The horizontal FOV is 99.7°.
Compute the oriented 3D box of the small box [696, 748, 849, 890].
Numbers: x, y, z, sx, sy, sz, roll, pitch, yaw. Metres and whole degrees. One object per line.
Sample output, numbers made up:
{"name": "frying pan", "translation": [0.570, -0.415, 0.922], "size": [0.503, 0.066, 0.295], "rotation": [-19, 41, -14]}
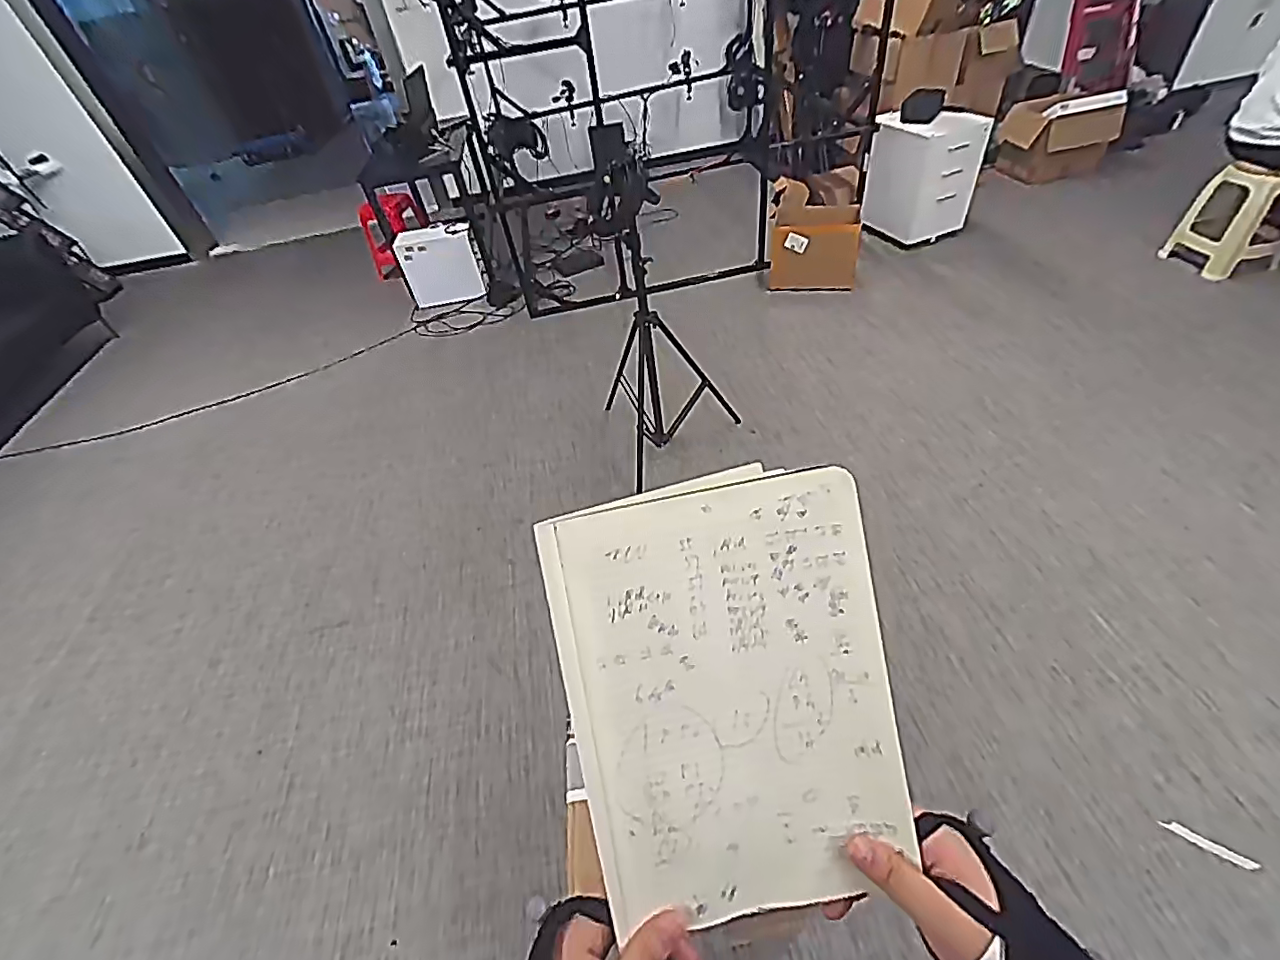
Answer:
{"name": "small box", "translation": [0.190, 0.502, 0.832], "size": [0.179, 0.176, 0.168], "rotation": [-13, 46, -4]}

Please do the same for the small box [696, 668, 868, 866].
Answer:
{"name": "small box", "translation": [0.172, 0.382, 0.721], "size": [0.168, 0.176, 0.179], "rotation": [-10, 45, -3]}
